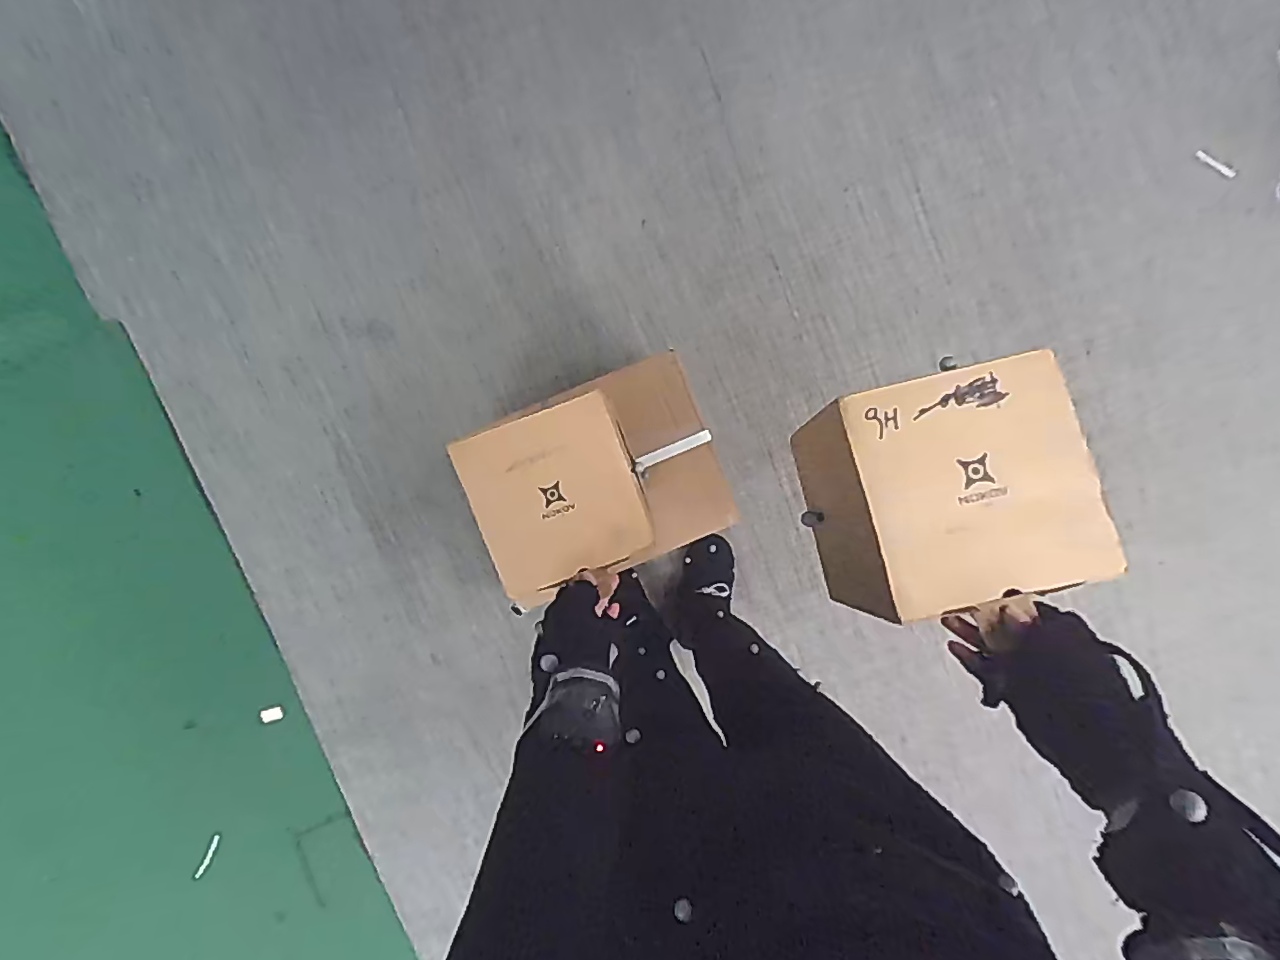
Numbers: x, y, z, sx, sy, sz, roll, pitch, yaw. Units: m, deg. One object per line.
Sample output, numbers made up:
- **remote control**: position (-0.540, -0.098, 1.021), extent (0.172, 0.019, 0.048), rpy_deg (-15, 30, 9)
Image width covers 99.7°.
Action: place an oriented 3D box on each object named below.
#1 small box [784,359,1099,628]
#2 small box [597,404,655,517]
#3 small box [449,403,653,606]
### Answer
- **small box**: position (0.242, 0.015, 0.484), extent (0.168, 0.176, 0.179), rpy_deg (-14, 84, 2)
- **small box**: position (-0.093, -0.007, 0.799), extent (0.179, 0.176, 0.168), rpy_deg (-24, 99, 2)
- **small box**: position (-0.090, 0.017, 0.637), extent (0.168, 0.176, 0.179), rpy_deg (-22, 97, 1)
